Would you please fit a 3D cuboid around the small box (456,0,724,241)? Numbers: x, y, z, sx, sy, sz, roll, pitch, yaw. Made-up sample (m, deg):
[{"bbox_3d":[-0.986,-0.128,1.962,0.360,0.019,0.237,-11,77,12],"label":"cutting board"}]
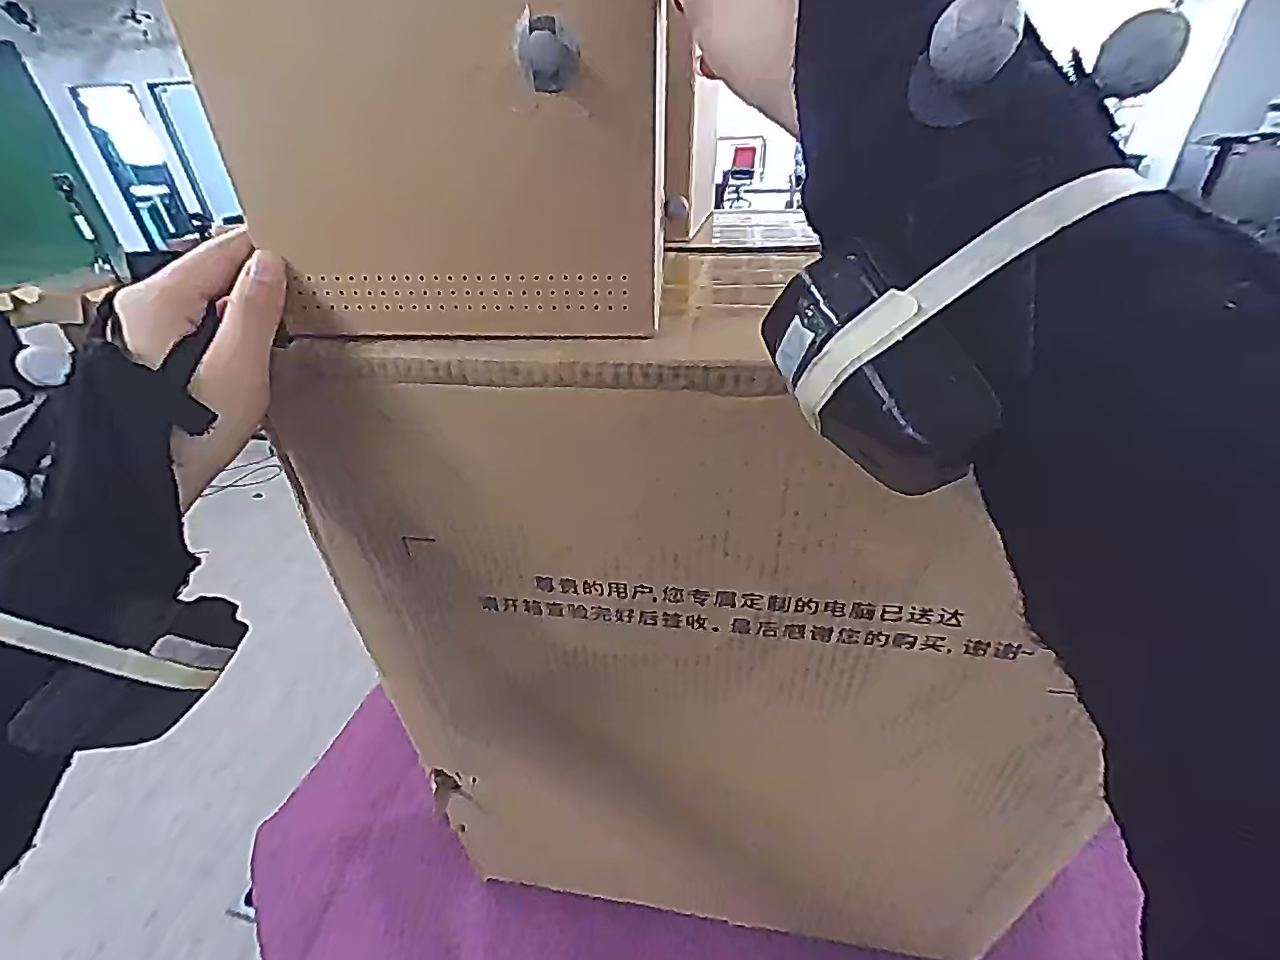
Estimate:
[{"bbox_3d":[-0.023,-0.303,0.451,0.168,0.176,0.179,6,34,11],"label":"small box"}]
